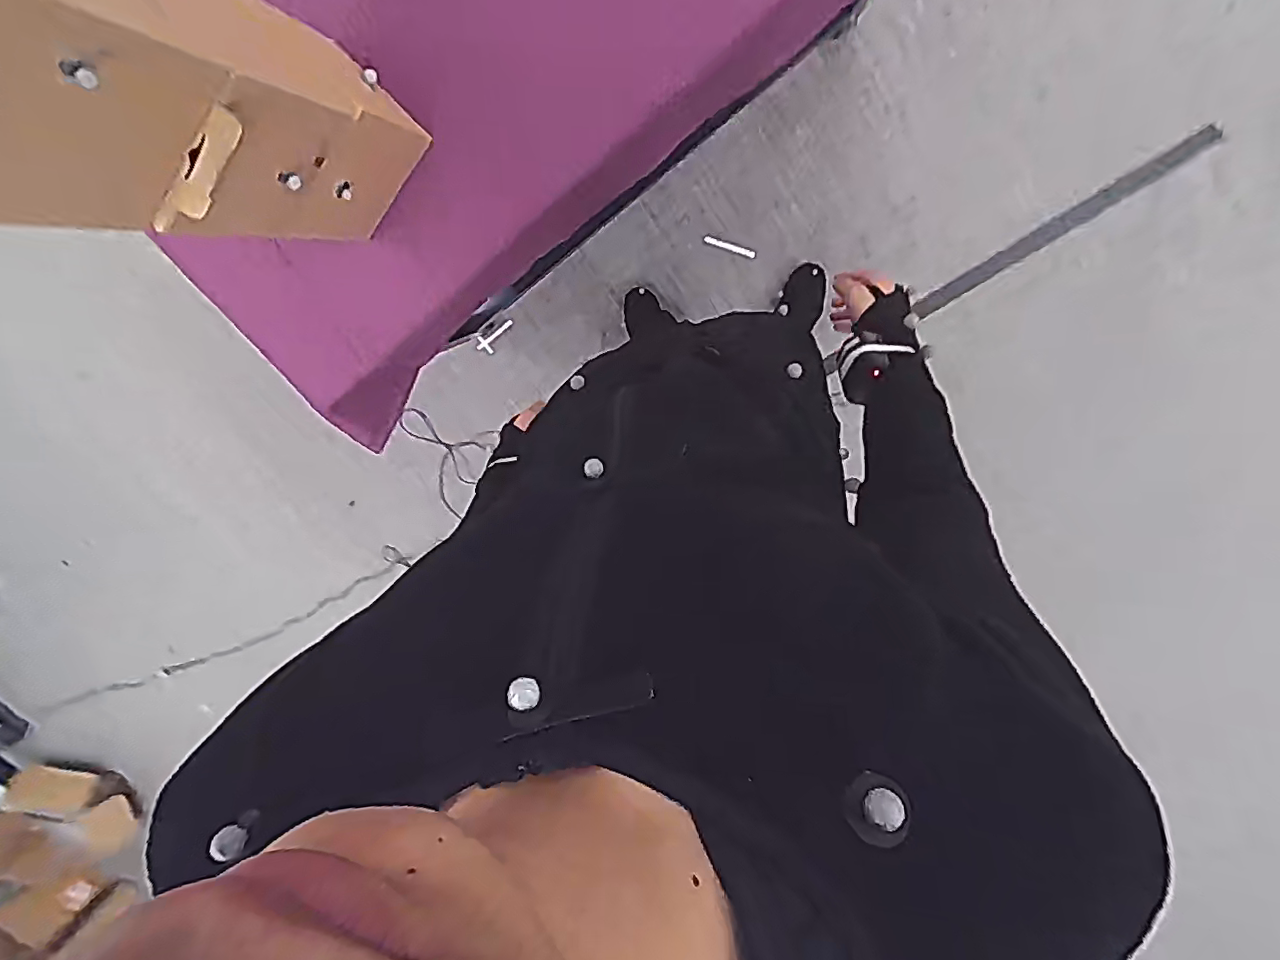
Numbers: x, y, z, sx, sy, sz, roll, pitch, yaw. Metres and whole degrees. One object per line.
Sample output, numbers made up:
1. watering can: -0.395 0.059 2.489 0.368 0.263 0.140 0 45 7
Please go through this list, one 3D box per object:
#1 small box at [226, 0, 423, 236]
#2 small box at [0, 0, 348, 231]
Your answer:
1. small box: -0.407 -0.428 0.673 0.168 0.176 0.179 42 111 -12
2. small box: -0.436 -0.363 0.525 0.179 0.176 0.168 41 112 -11
